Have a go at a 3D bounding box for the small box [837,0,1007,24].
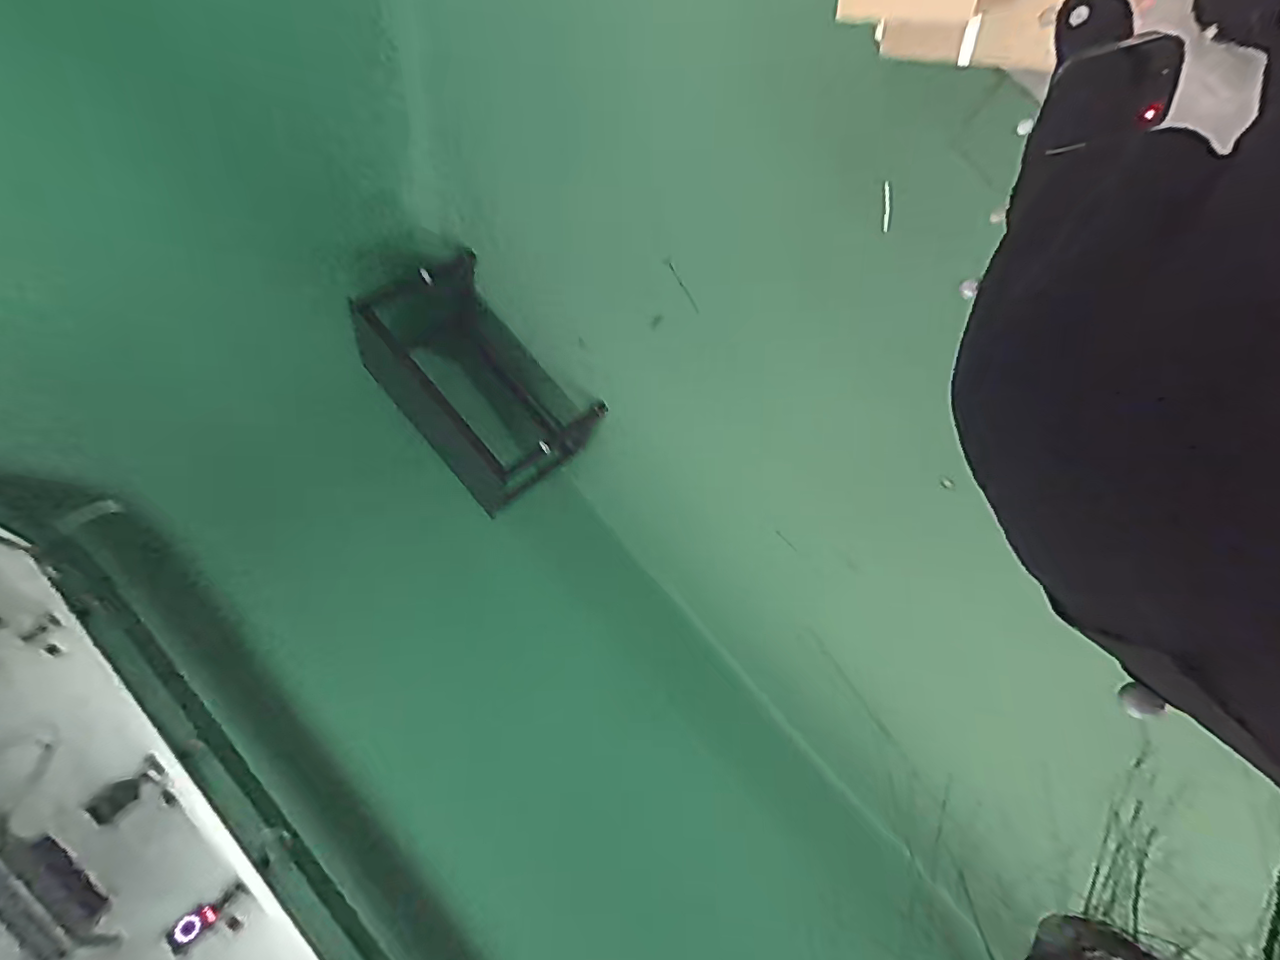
[{"bbox_3d":[0.373,-0.676,0.657,0.179,0.176,0.168,31,147,31],"label":"small box"}]
